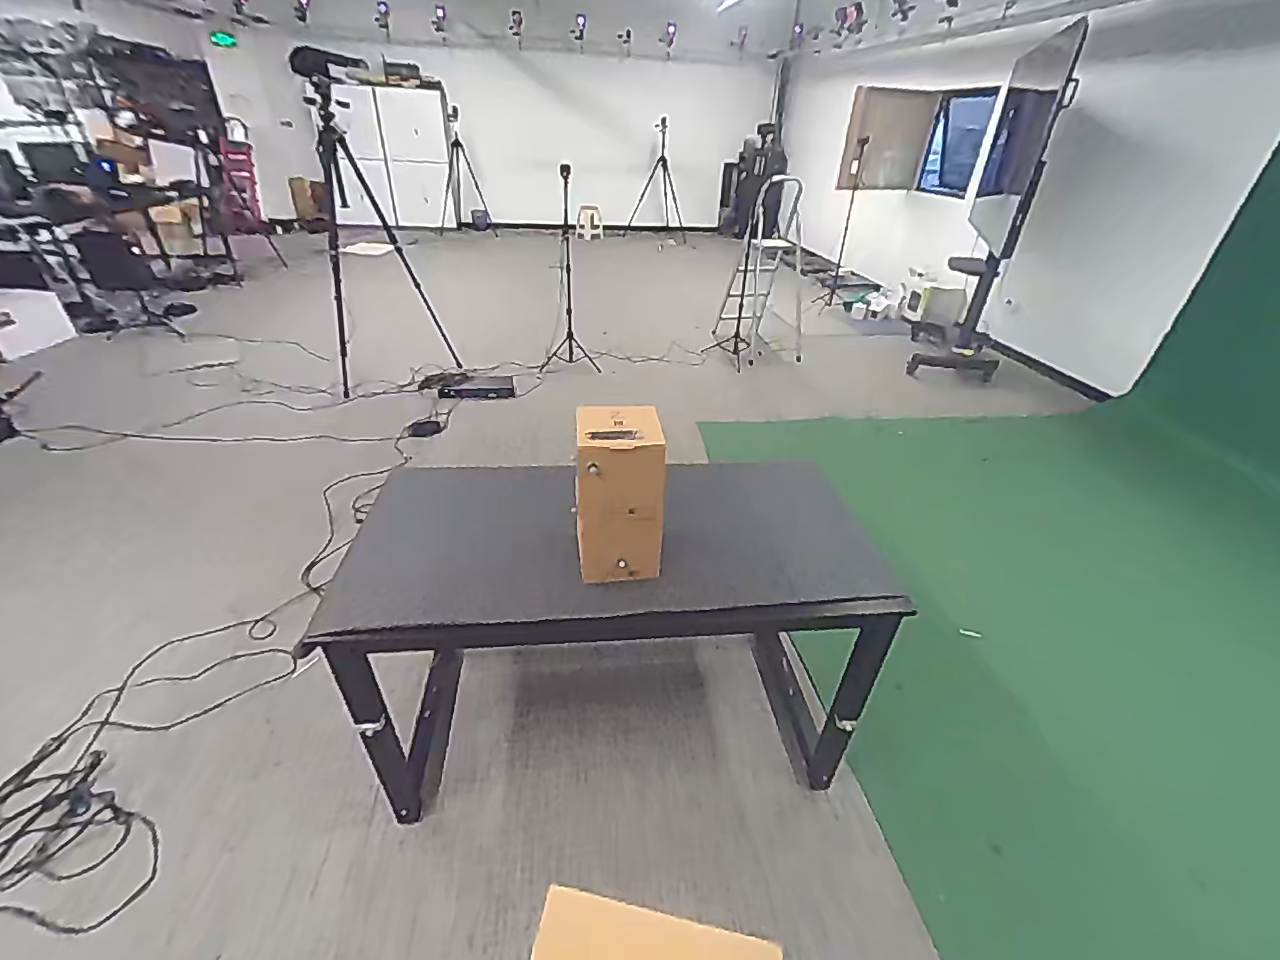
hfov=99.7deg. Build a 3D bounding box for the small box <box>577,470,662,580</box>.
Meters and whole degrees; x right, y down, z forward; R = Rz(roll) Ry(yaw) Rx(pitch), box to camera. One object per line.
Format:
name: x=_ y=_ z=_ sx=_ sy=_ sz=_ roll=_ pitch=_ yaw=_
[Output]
small box: x=-0.052 y=0.095 z=1.177 sx=0.168 sy=0.176 sz=0.179 roll=-4 pitch=33 yaw=-9
